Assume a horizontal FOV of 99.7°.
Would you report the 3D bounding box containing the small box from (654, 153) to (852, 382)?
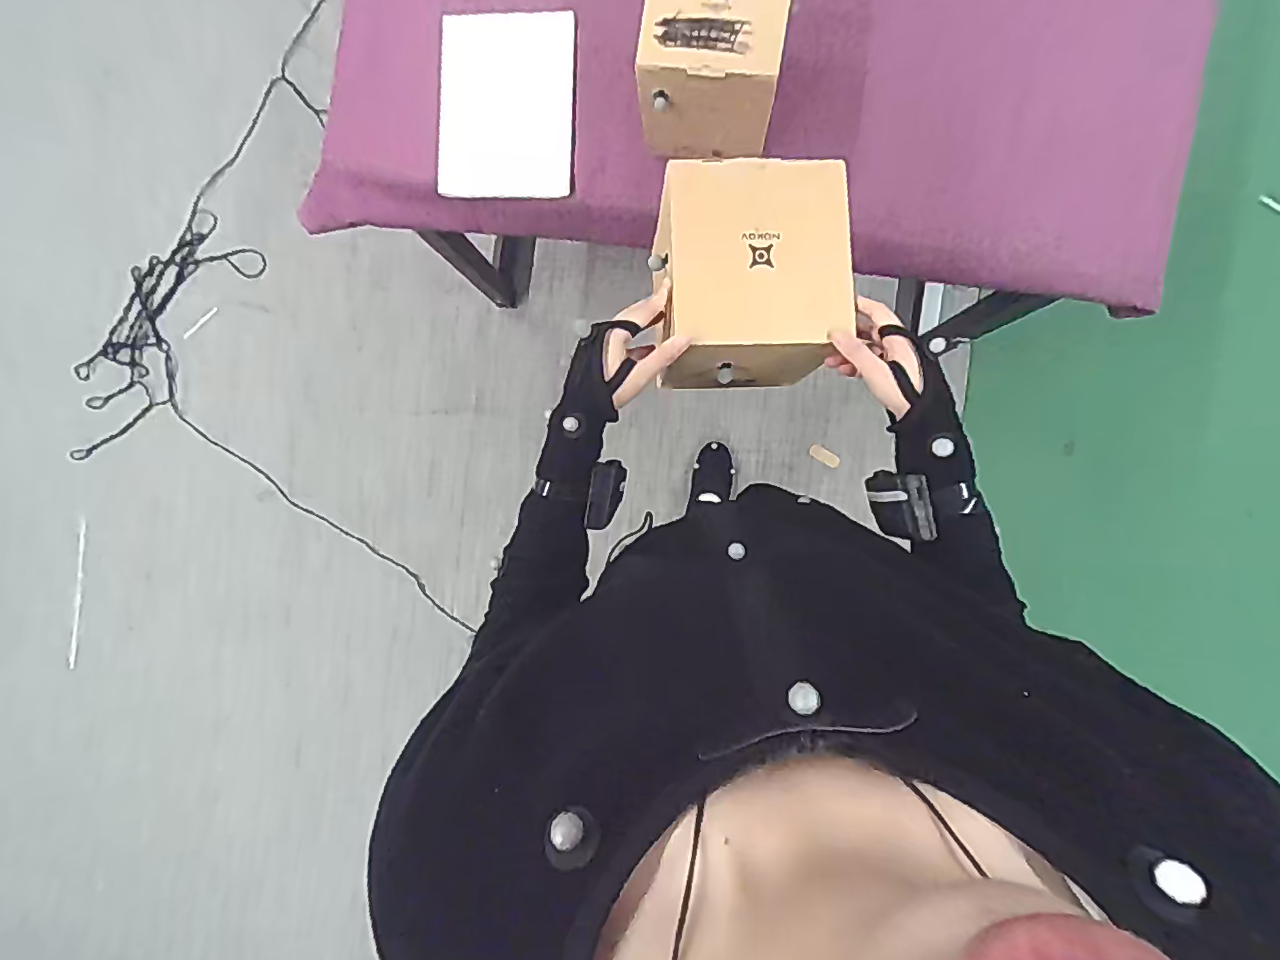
[{"bbox_3d":[0.104,-0.204,0.565,0.168,0.176,0.179,-1,85,-3],"label":"small box"}]
